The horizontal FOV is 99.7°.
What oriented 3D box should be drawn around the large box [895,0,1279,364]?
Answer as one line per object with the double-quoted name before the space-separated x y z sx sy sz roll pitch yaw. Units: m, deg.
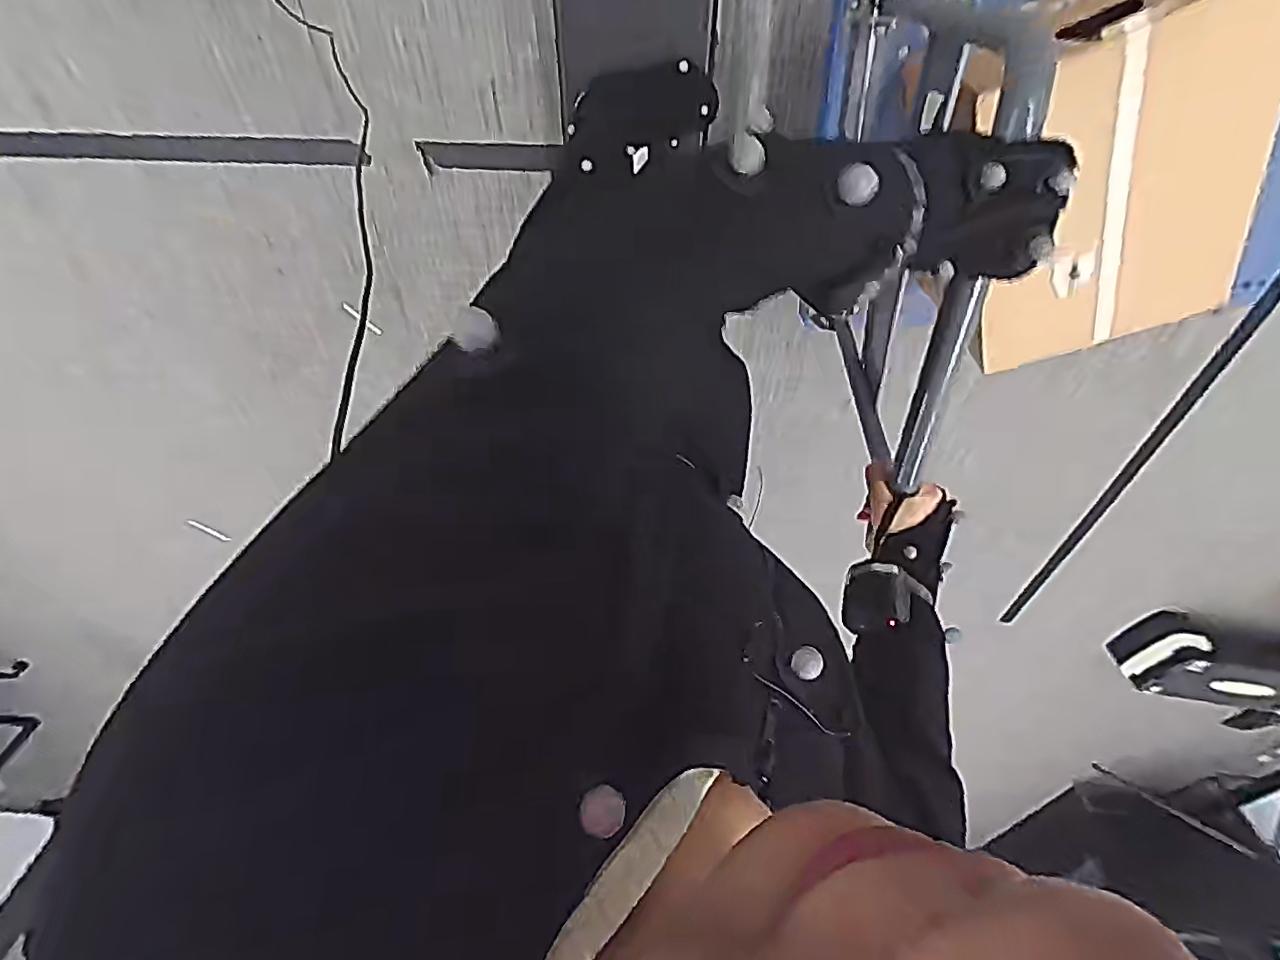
"large box" 0.610 -0.461 0.812 0.320 0.320 0.408 -16 131 19
